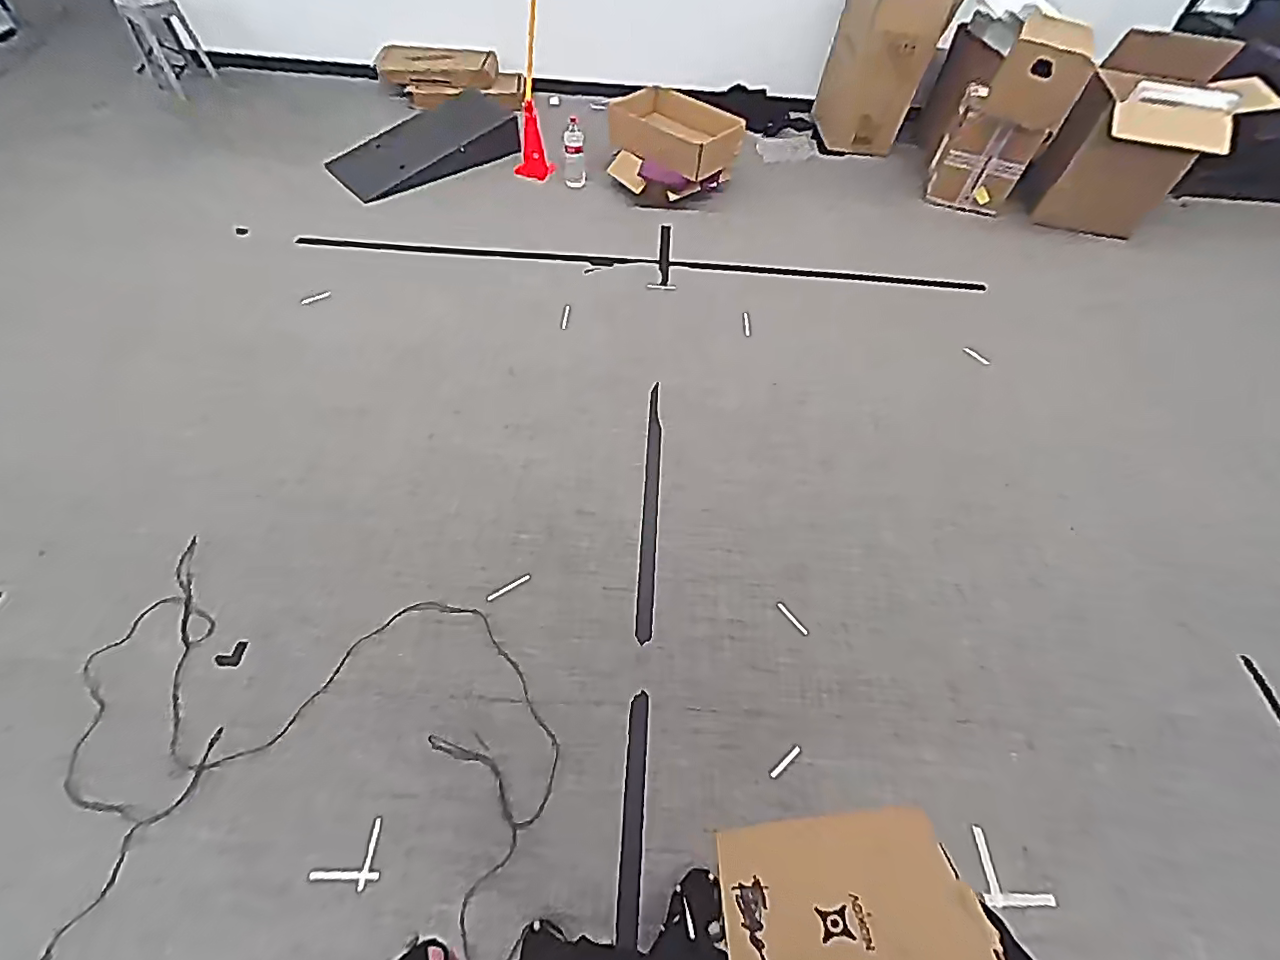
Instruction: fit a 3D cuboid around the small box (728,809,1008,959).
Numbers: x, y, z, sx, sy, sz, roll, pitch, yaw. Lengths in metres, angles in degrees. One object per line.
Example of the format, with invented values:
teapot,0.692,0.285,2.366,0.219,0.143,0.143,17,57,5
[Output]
small box,0.173,0.395,0.415,0.179,0.176,0.168,-11,17,6
